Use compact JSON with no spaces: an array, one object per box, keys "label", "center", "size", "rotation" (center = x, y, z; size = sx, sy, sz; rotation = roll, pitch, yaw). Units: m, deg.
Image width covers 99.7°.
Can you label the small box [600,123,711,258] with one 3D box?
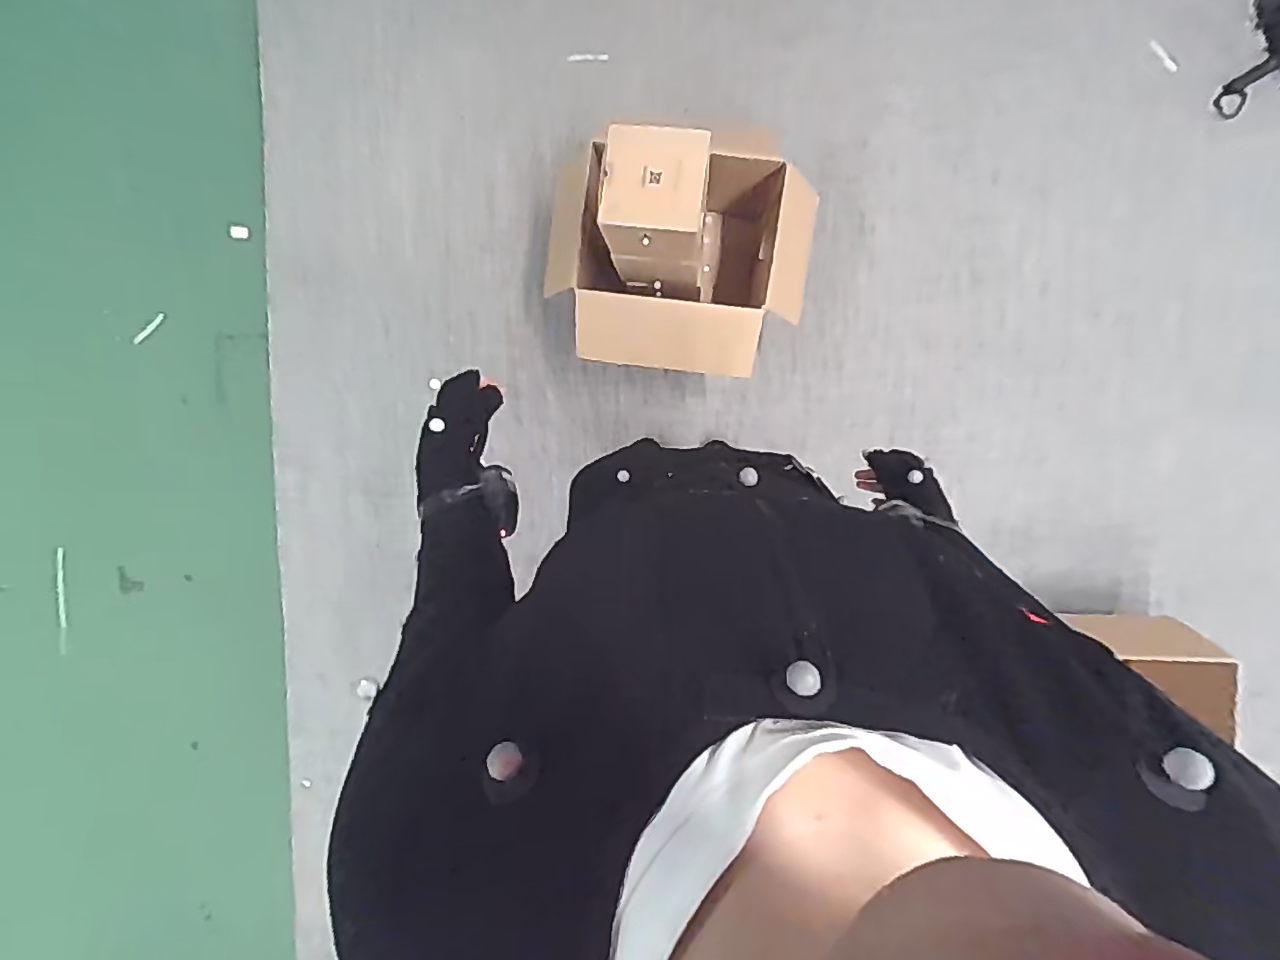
[{"label":"small box","center":[0.033,-0.521,0.995],"size":[0.179,0.176,0.168],"rotation":[6,96,4]}]
